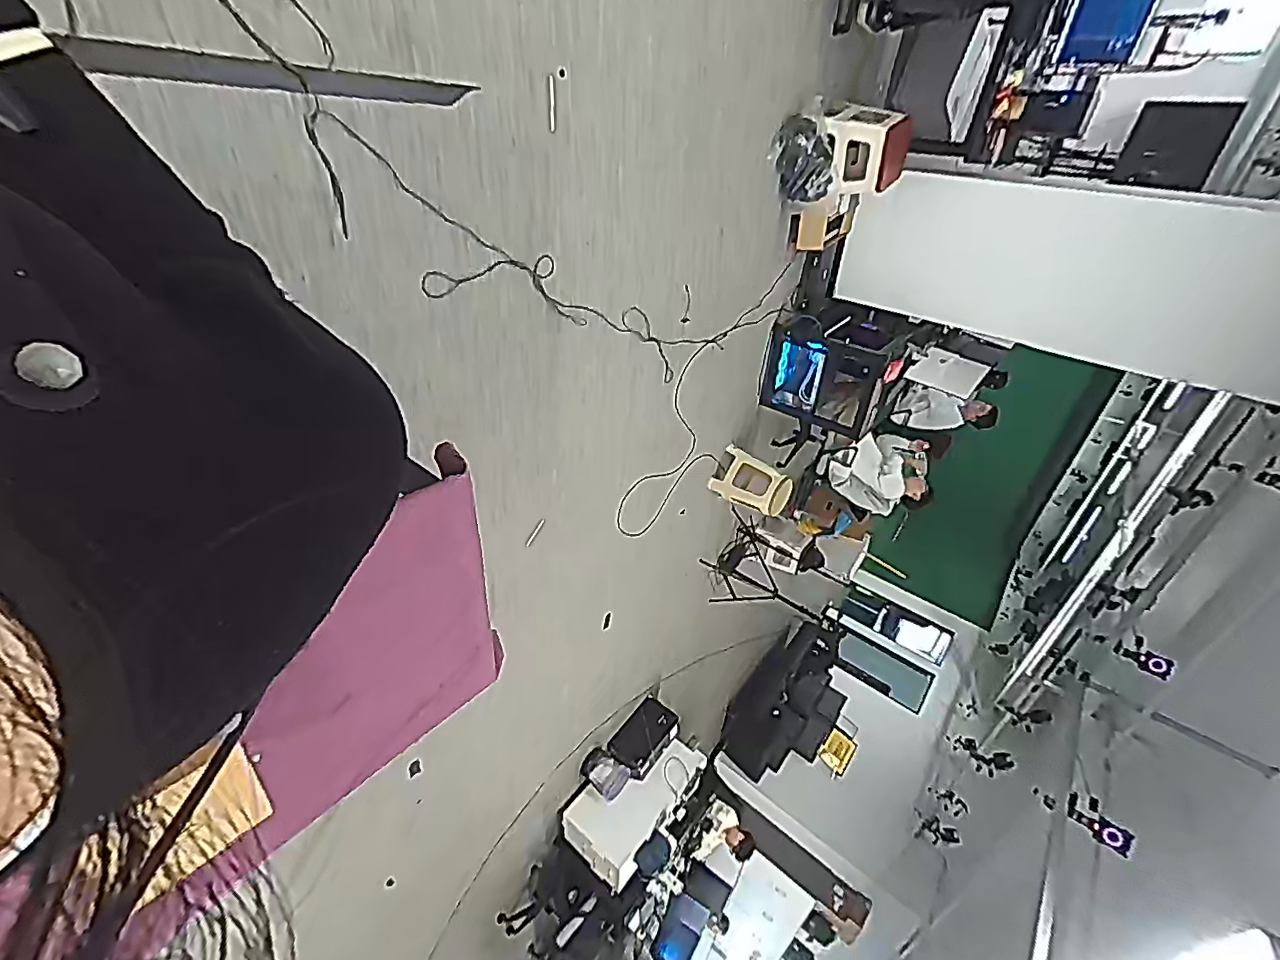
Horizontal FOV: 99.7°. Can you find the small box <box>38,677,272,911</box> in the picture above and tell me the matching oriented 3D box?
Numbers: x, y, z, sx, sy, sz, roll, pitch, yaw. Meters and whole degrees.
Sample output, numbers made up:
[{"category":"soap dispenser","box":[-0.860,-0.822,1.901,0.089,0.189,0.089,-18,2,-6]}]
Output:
[{"category":"small box","box":[-0.634,0.403,0.718,0.168,0.176,0.179,-32,138,-45]}]
